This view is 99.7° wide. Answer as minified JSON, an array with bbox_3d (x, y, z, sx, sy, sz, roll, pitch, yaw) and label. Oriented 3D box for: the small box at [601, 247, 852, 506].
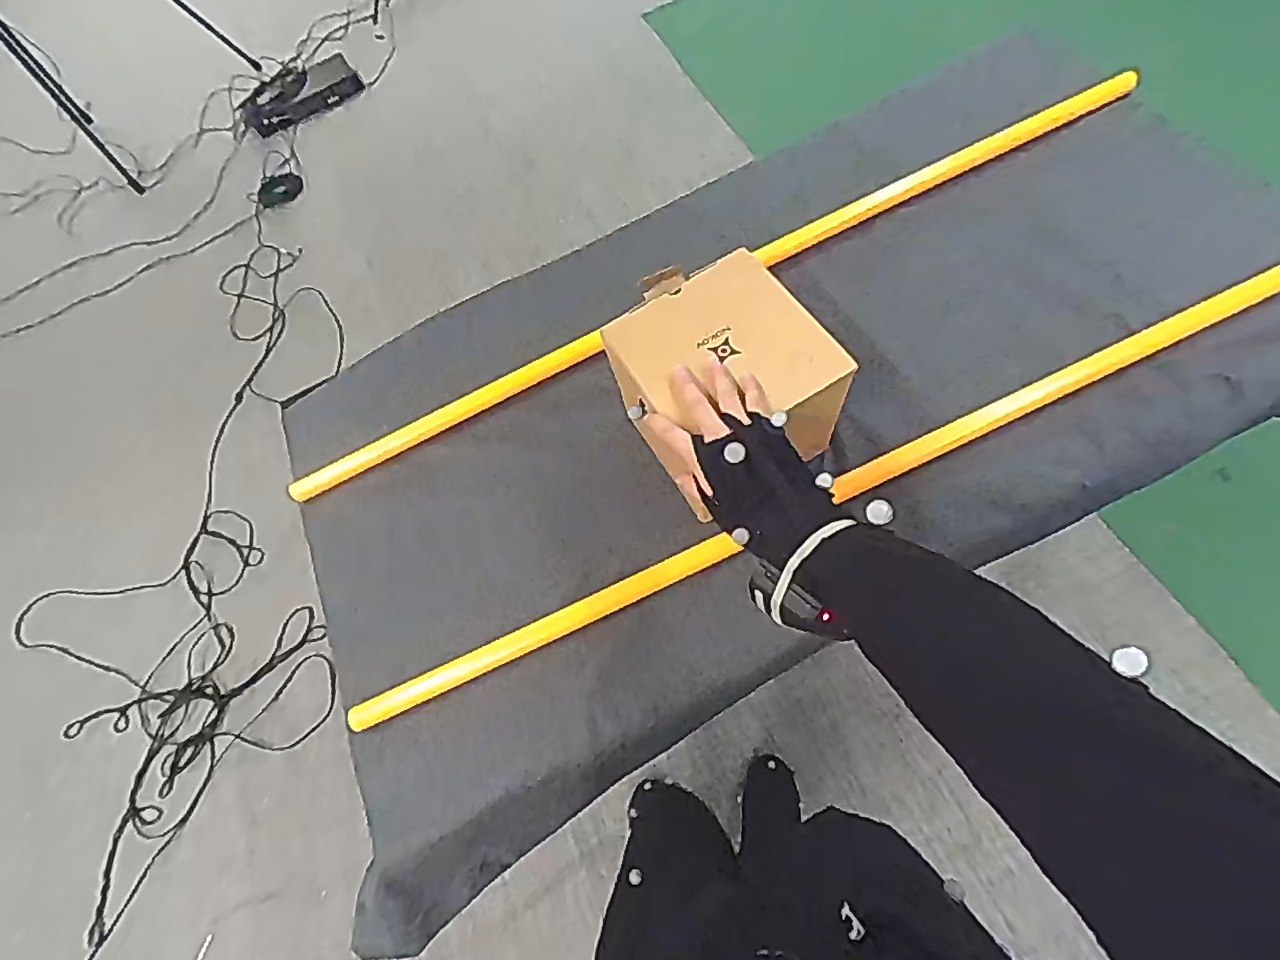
[{"bbox_3d":[0.086,-0.091,0.561,0.168,0.176,0.179,-31,65,-3],"label":"small box"}]
